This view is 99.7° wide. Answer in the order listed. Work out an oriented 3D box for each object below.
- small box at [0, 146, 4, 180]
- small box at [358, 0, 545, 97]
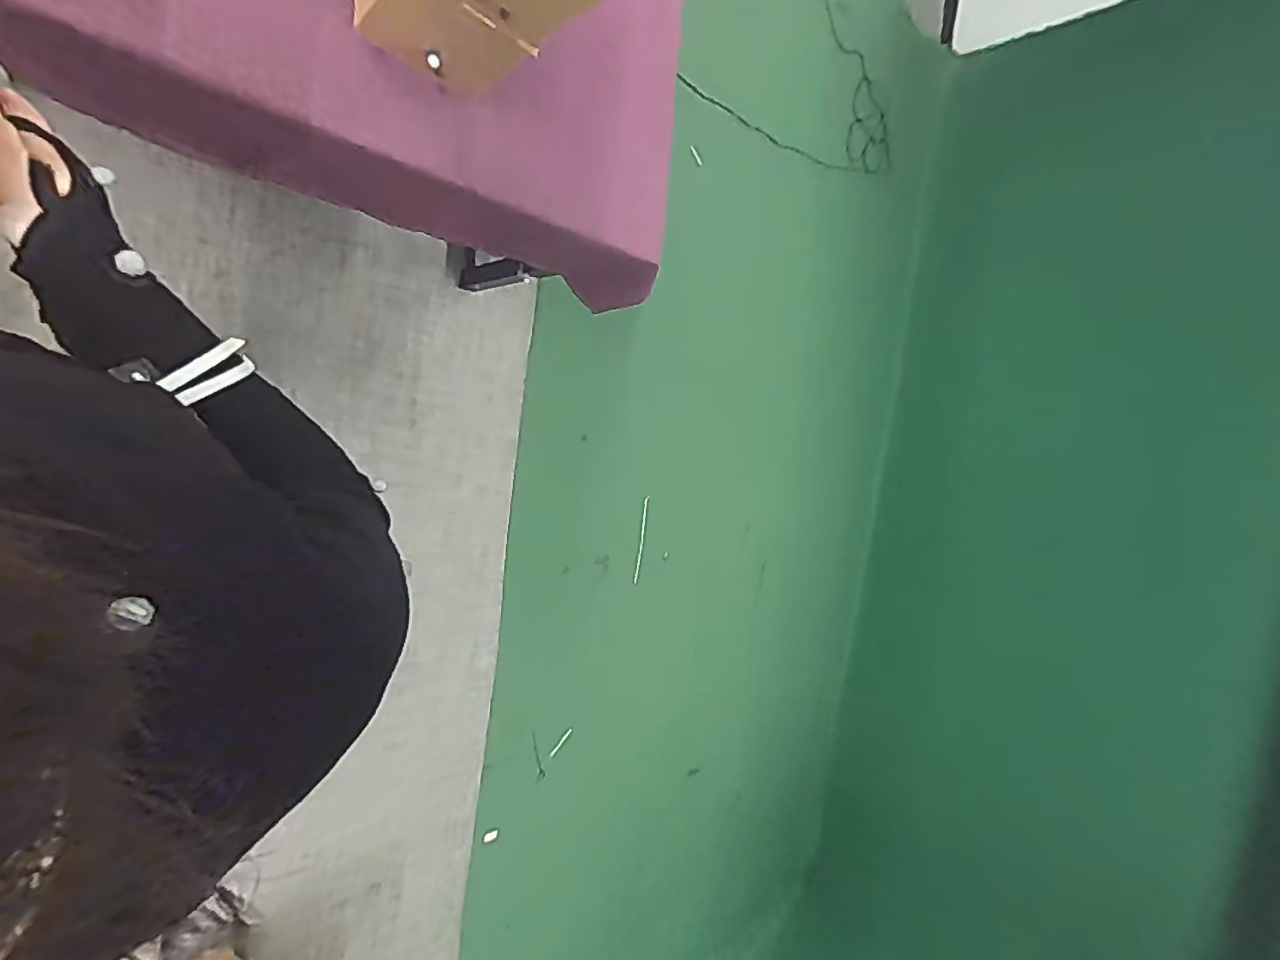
[{"bbox_3d":[-0.440,-0.245,0.253,0.168,0.176,0.179,-9,118,-45],"label":"small box"},{"bbox_3d":[-0.230,-0.626,0.665,0.168,0.176,0.179,2,97,-45],"label":"small box"}]
